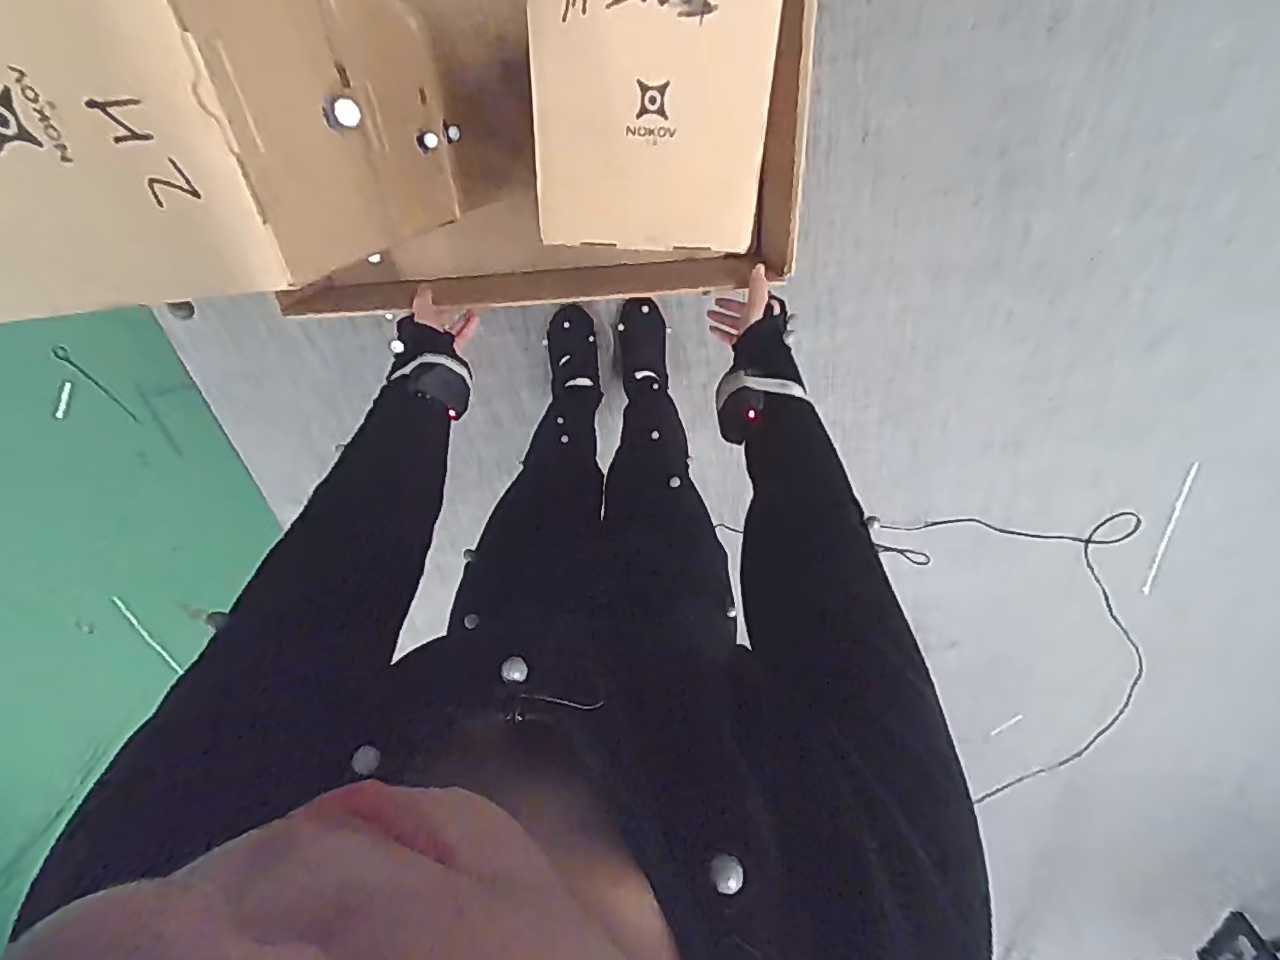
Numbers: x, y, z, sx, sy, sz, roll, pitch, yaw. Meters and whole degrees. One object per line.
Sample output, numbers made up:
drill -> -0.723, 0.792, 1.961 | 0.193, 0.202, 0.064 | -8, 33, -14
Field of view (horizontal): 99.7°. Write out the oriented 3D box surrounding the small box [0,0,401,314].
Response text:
small box -> -0.272, -0.204, 0.312 | 0.179, 0.176, 0.168 | -5, 122, 1

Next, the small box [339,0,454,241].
small box -> -0.278, -0.292, 0.451 | 0.179, 0.176, 0.168 | -5, 122, 0

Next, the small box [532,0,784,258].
small box -> 0.006, -0.298, 0.451 | 0.168, 0.176, 0.179 | 2, 122, -3
